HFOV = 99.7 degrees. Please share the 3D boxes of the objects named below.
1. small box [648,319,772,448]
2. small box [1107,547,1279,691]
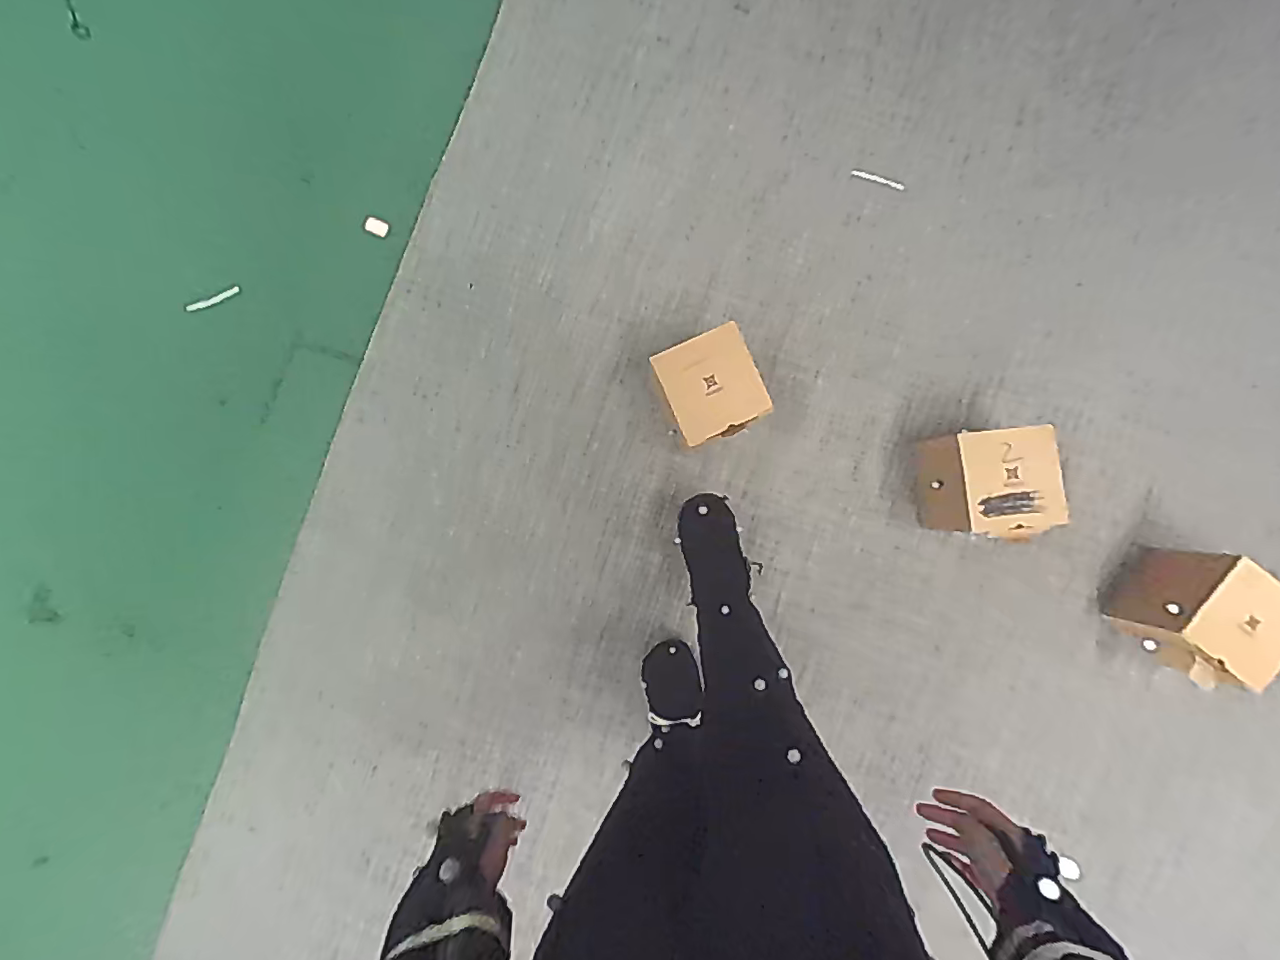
[{"bbox_3d":[0.124,-0.169,1.015,0.168,0.176,0.179,-24,87,-1],"label":"small box"},{"bbox_3d":[1.024,0.239,0.986,0.168,0.176,0.179,39,90,2],"label":"small box"}]
